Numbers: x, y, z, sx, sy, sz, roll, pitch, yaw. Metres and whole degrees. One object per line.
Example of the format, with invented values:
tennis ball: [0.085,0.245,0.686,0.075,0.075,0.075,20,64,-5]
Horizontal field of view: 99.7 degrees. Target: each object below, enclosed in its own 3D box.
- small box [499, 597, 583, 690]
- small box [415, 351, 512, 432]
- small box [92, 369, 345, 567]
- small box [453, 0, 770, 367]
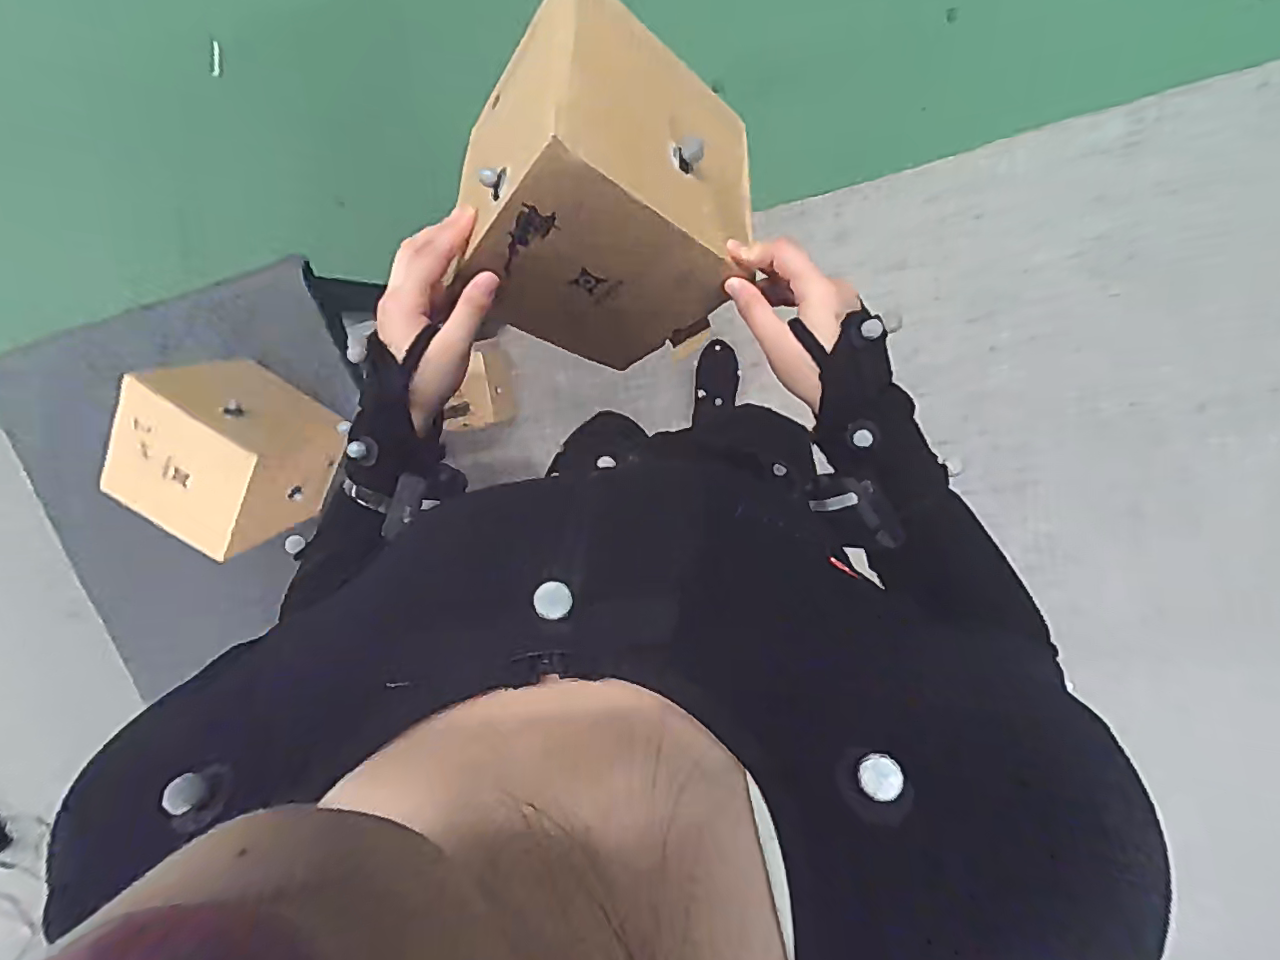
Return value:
small box: [-0.279,0.465,1.566,0.179,0.176,0.168,20,107,2]
small box: [-0.444,-0.231,1.391,0.168,0.176,0.179,-6,103,8]
small box: [-0.523,-0.027,0.693,0.179,0.176,0.168,33,109,-2]
small box: [-0.020,-0.219,0.420,0.168,0.179,0.176,-22,60,46]
